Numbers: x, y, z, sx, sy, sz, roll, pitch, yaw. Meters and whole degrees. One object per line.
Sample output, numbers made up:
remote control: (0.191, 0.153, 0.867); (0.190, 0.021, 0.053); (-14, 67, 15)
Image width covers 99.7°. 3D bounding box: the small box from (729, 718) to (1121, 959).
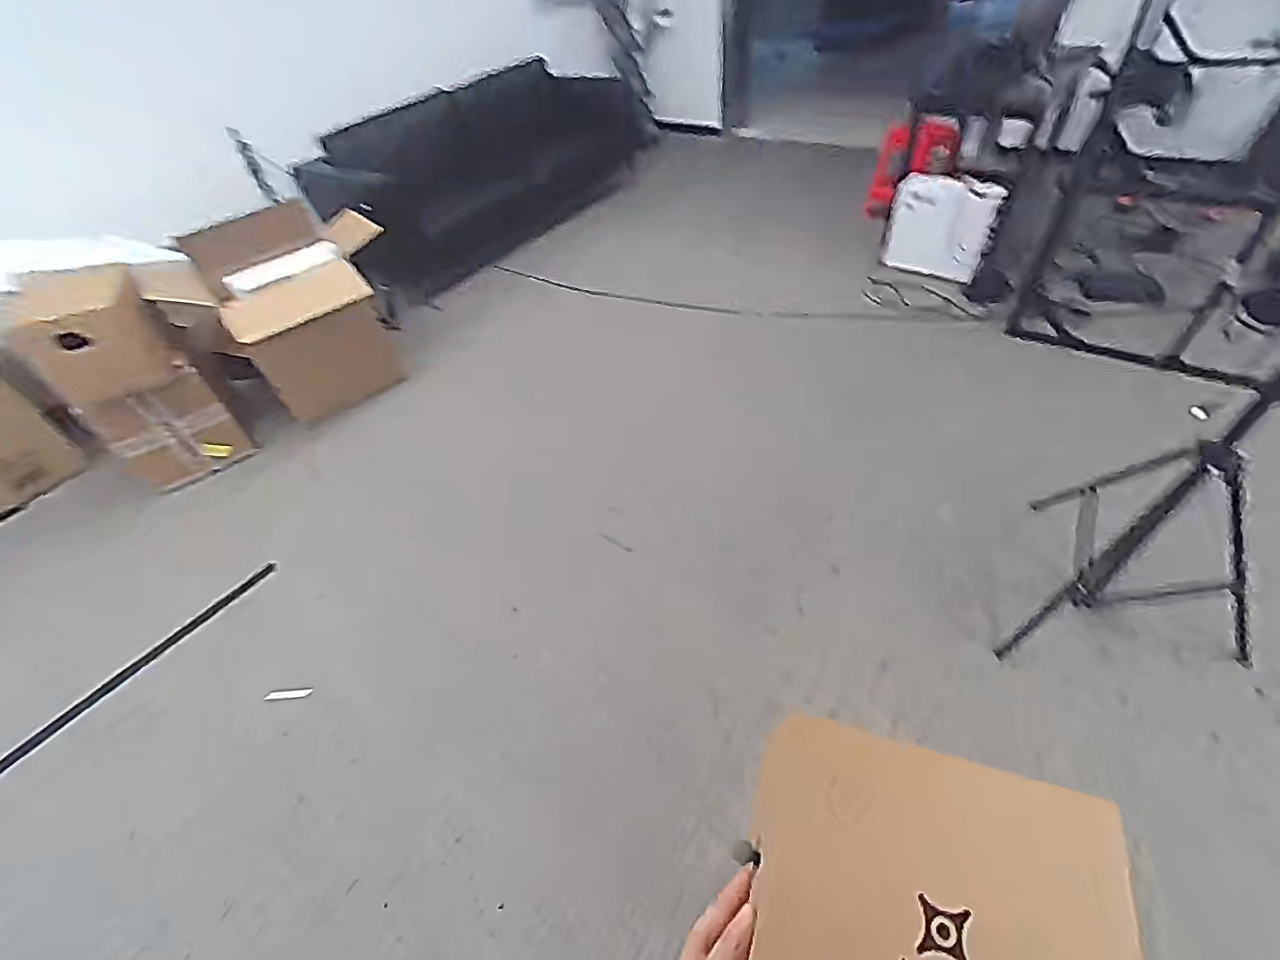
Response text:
small box: (0.146, 0.269, 0.323); (0.168, 0.176, 0.179); (10, 58, 14)
